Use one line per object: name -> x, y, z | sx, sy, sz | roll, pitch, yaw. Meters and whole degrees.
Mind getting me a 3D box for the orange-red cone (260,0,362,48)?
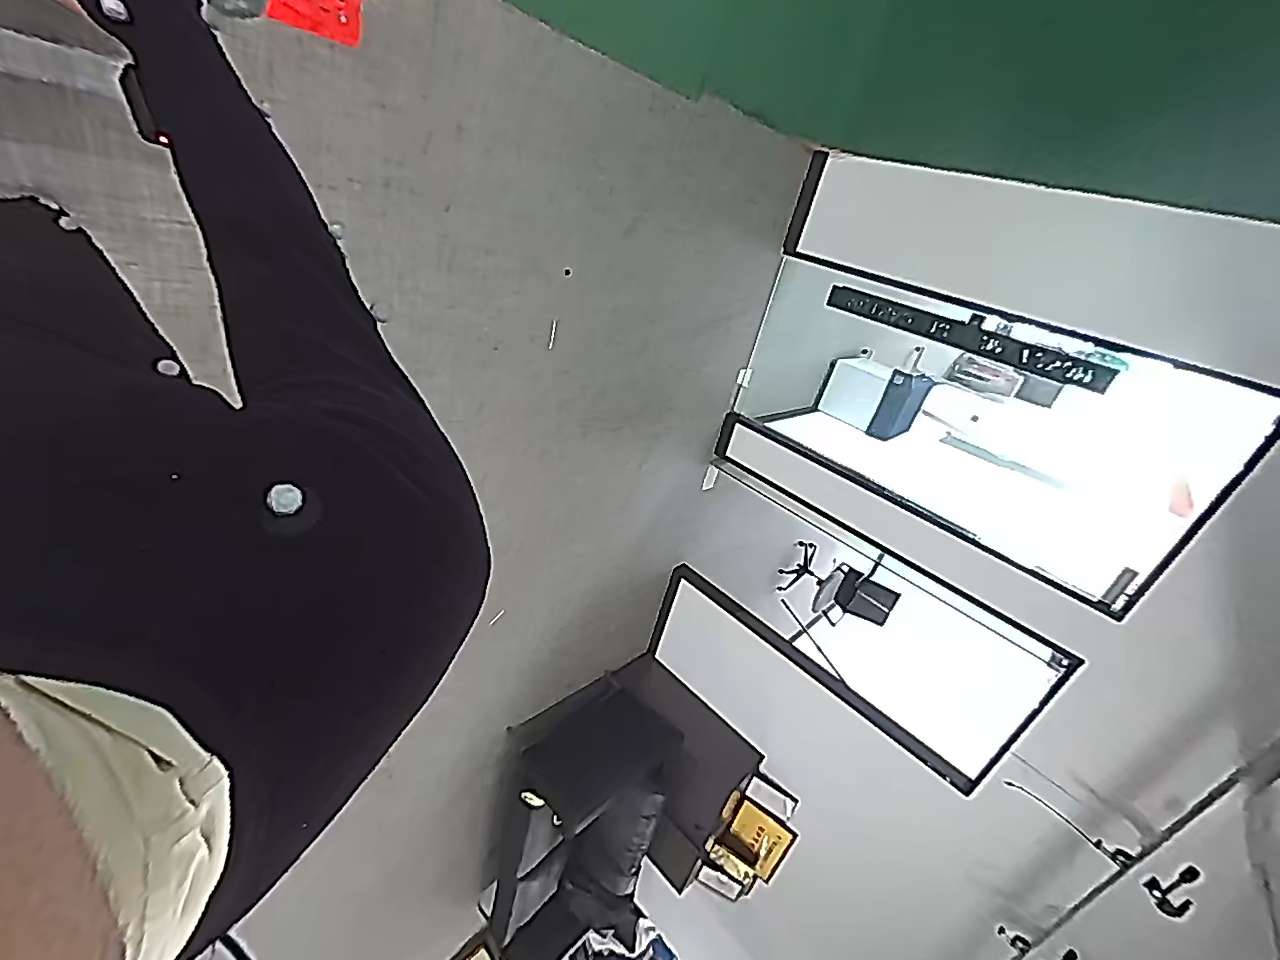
orange-red cone -> -0.554, -0.959, 1.019 | 0.198, 0.360, 0.199 | -16, 129, -46
